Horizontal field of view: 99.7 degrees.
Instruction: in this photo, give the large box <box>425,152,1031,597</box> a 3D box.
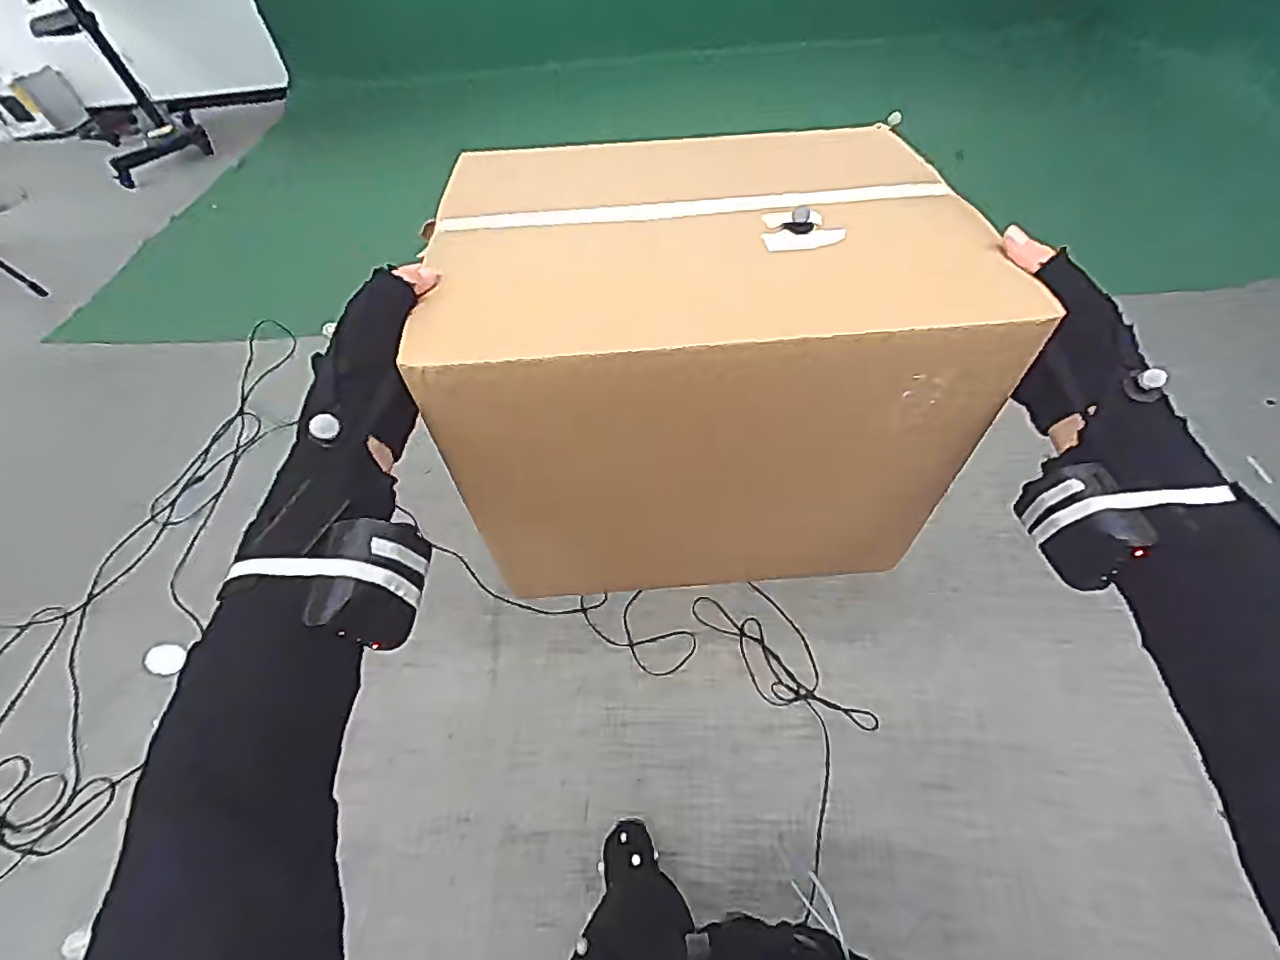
[{"bbox_3d":[0.049,-0.101,0.551,0.408,0.320,0.320,-4,52,-2],"label":"large box"}]
